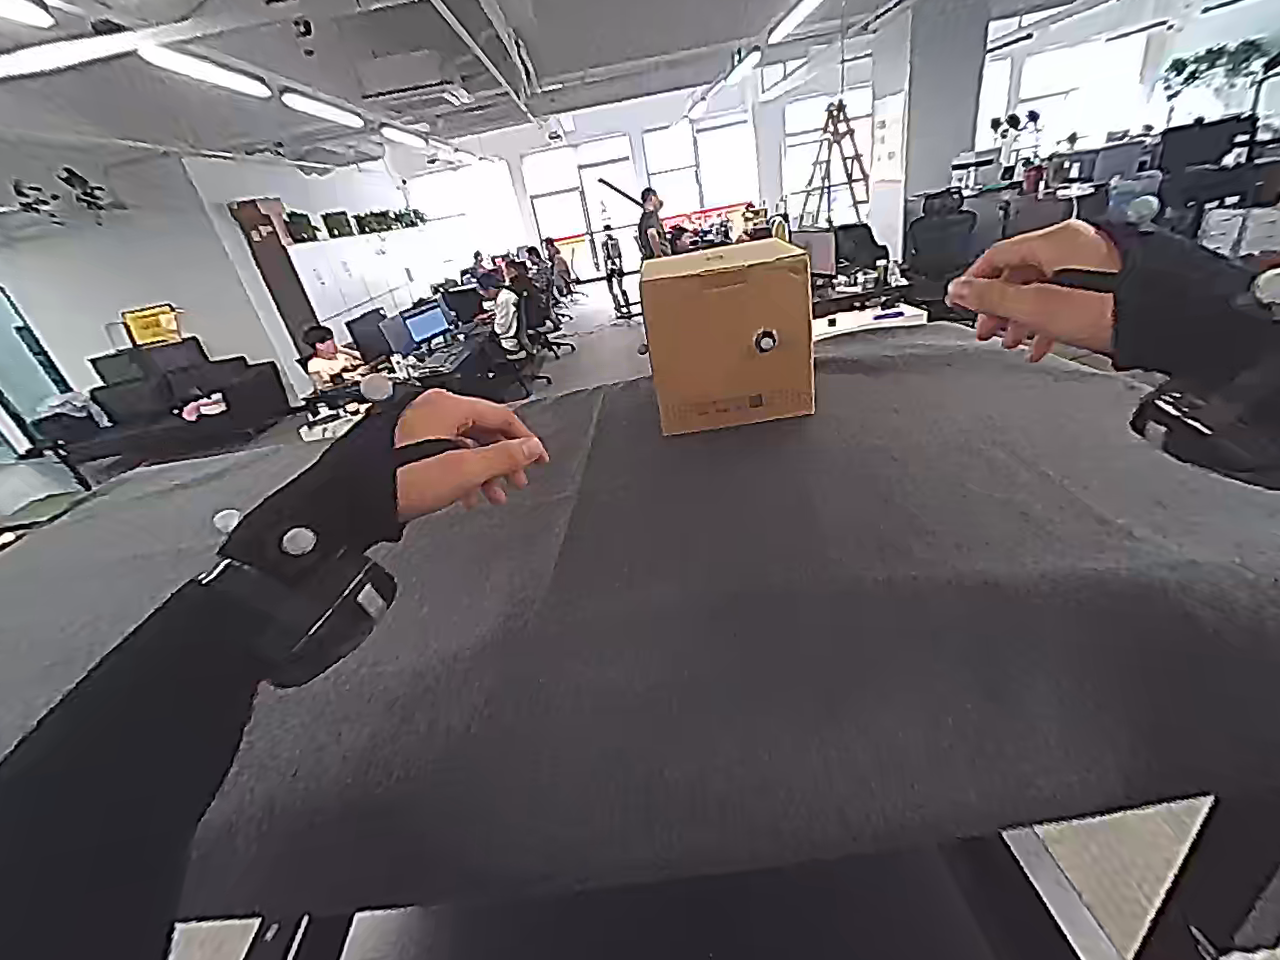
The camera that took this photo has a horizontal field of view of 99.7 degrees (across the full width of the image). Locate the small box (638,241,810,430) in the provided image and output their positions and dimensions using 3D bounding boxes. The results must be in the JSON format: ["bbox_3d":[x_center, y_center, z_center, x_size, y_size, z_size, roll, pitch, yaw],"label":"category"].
[{"bbox_3d":[0.095,-0.163,0.621,0.168,0.176,0.179,-7,27,6],"label":"small box"}]
